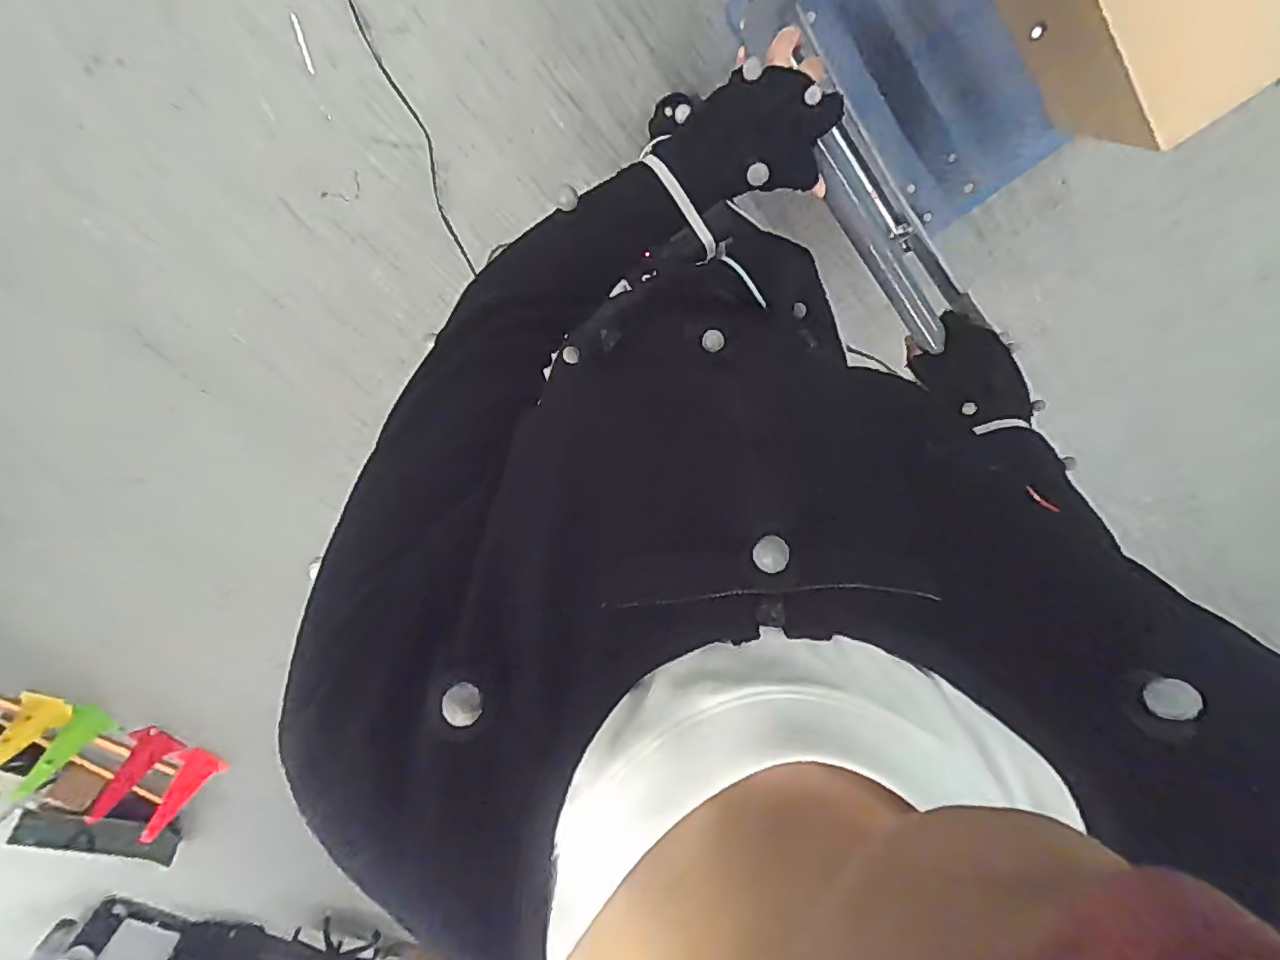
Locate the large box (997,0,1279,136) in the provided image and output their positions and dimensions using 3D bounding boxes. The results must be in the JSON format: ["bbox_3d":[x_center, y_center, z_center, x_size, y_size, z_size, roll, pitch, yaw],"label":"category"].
[{"bbox_3d":[0.696,-0.756,0.712,0.408,0.320,0.320,40,124,-21],"label":"large box"}]
